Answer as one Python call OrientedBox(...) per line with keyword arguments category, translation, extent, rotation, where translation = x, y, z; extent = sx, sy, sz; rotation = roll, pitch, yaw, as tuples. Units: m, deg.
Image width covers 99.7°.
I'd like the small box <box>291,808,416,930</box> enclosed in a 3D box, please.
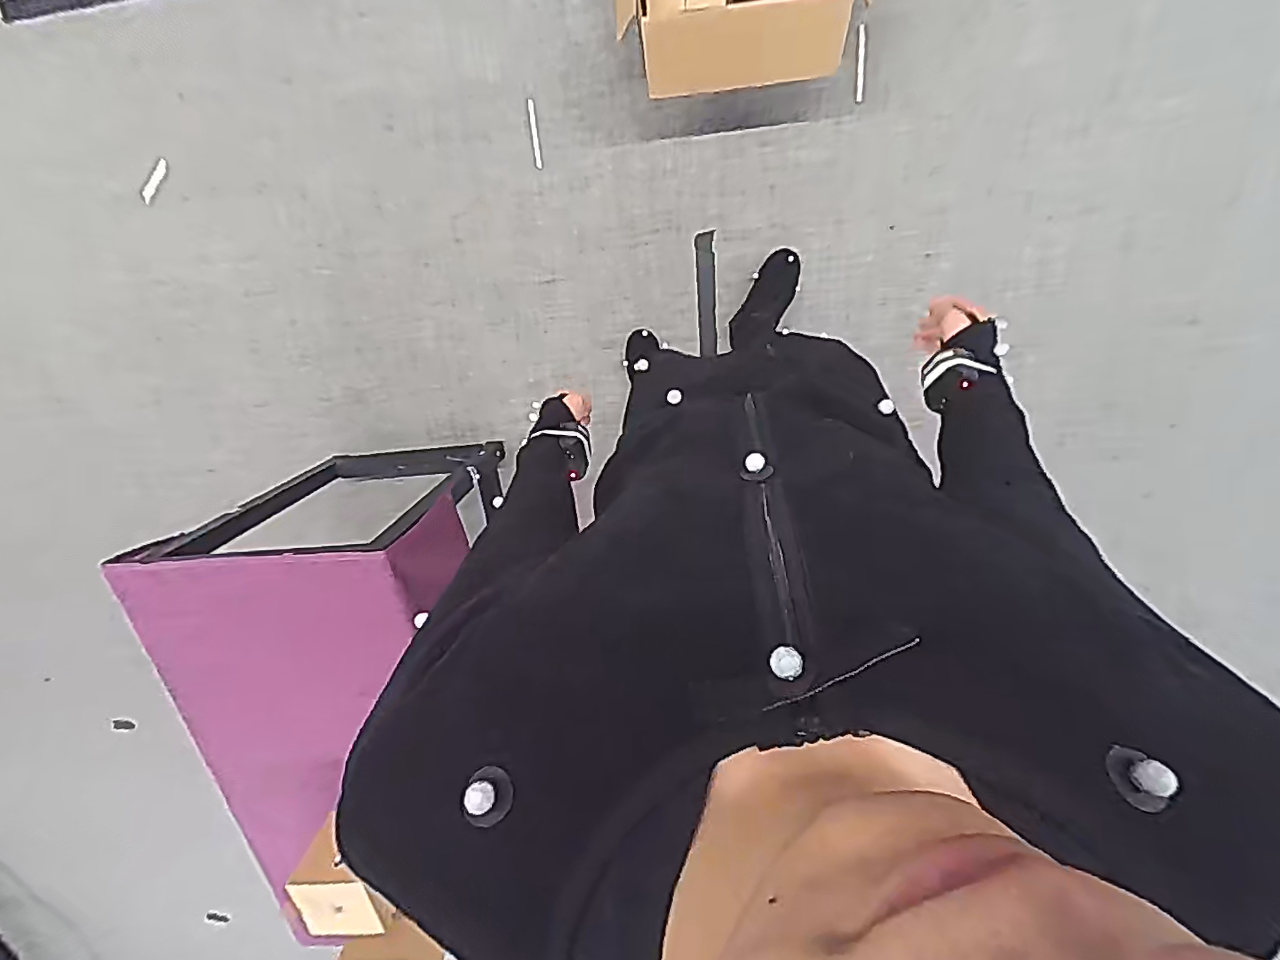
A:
OrientedBox(category="small box", translation=(-0.634, 0.875, 1.226), extent=(0.179, 0.176, 0.168), rotation=(-6, 110, 7))
